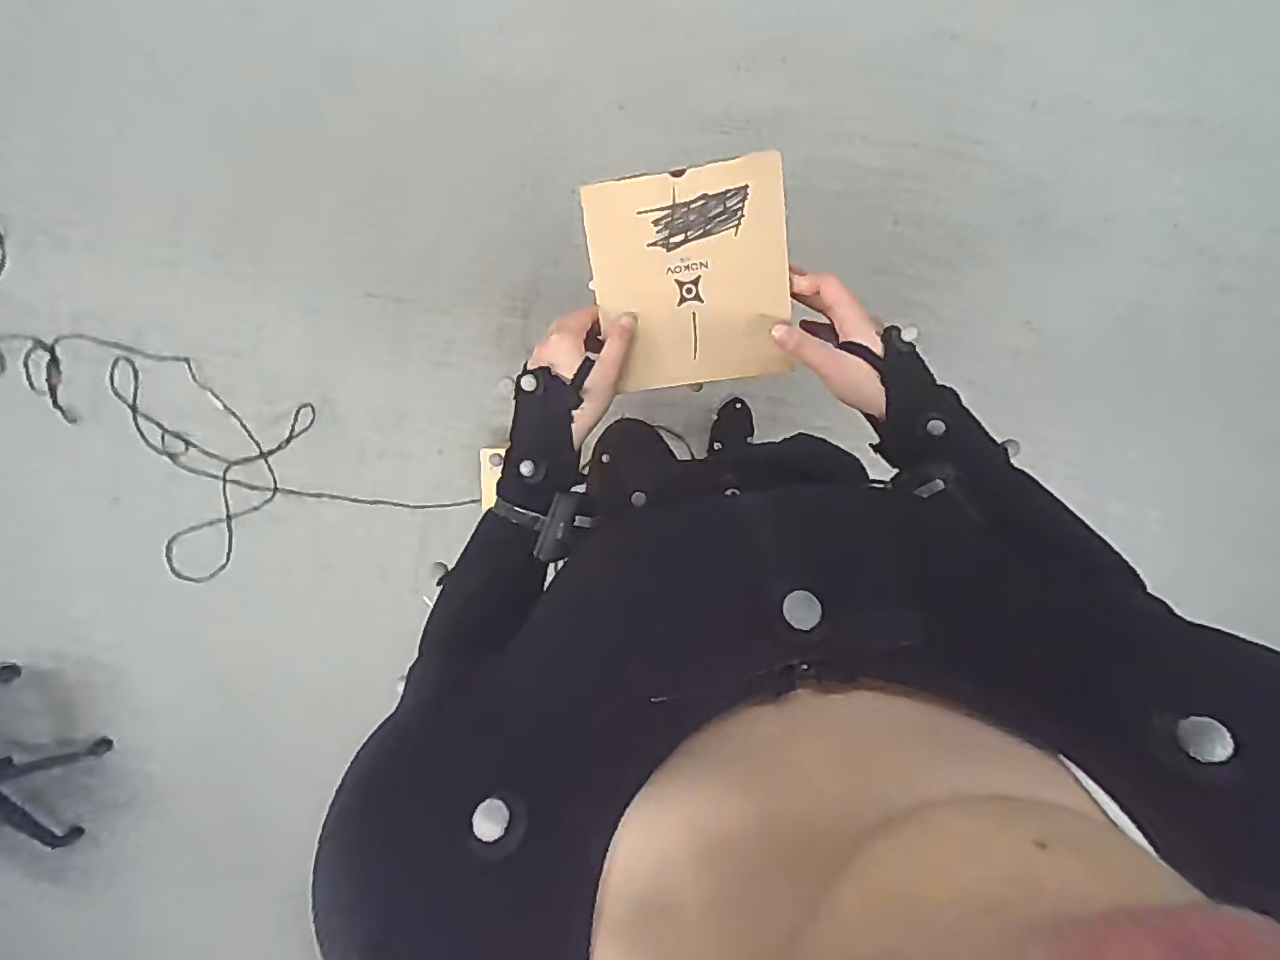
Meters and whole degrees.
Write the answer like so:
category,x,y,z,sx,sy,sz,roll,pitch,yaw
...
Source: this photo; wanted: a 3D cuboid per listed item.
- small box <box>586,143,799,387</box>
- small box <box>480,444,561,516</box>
category,x,y,z,sx,sy,sz,roll,pitch,yaw
small box,0.054,-0.190,0.525,0.168,0.176,0.179,-6,103,9
small box,-0.304,-0.005,1.412,0.179,0.176,0.168,1,99,4
